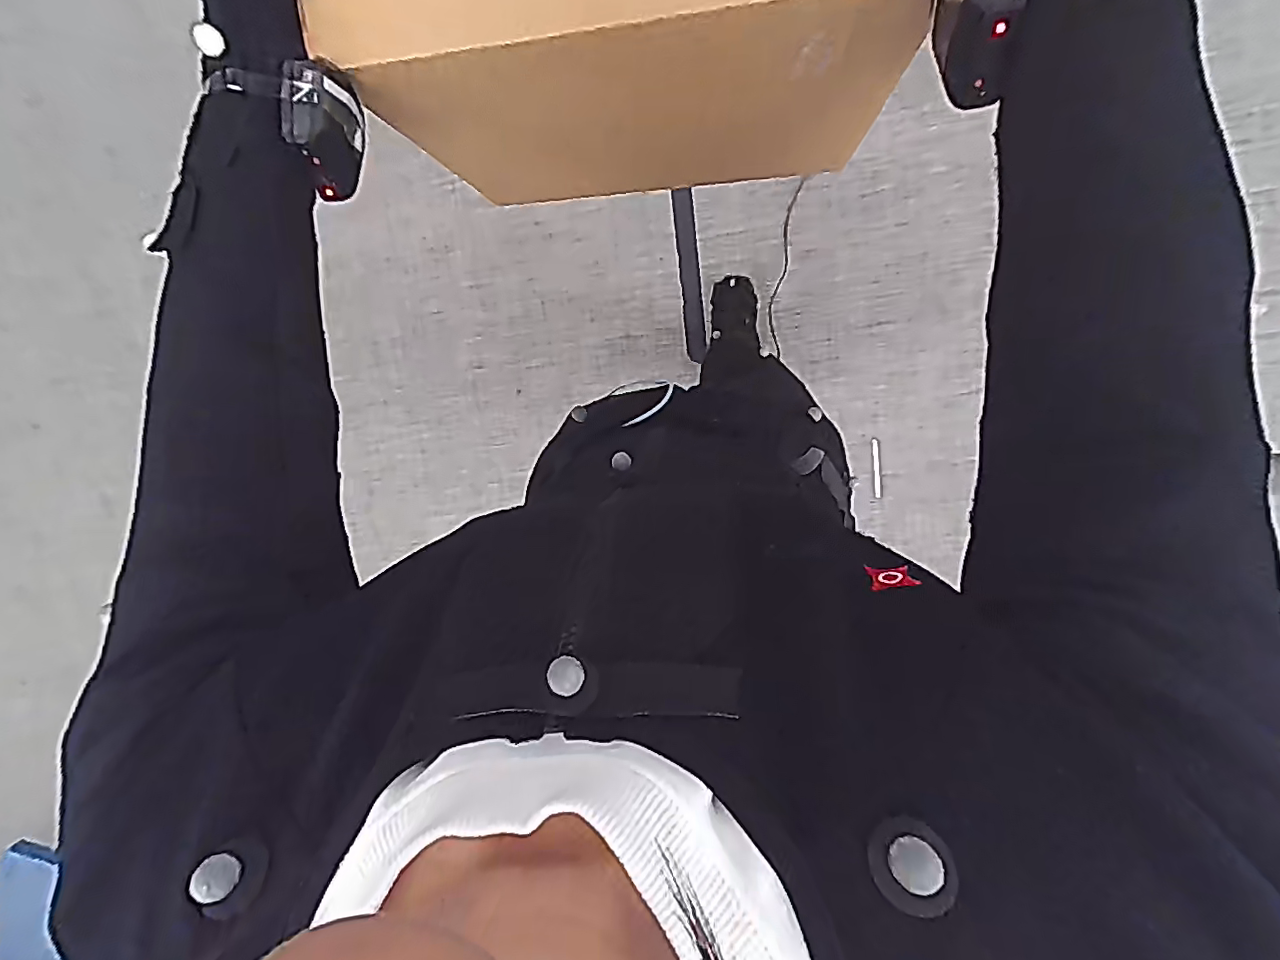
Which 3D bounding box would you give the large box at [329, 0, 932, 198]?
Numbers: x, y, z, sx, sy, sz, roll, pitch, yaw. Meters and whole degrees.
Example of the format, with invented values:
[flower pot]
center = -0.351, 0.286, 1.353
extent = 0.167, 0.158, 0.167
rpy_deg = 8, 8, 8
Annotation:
[large box]
center = -0.001, -0.468, 0.453
extent = 0.408, 0.320, 0.320
rpy_deg = -2, 102, 8
